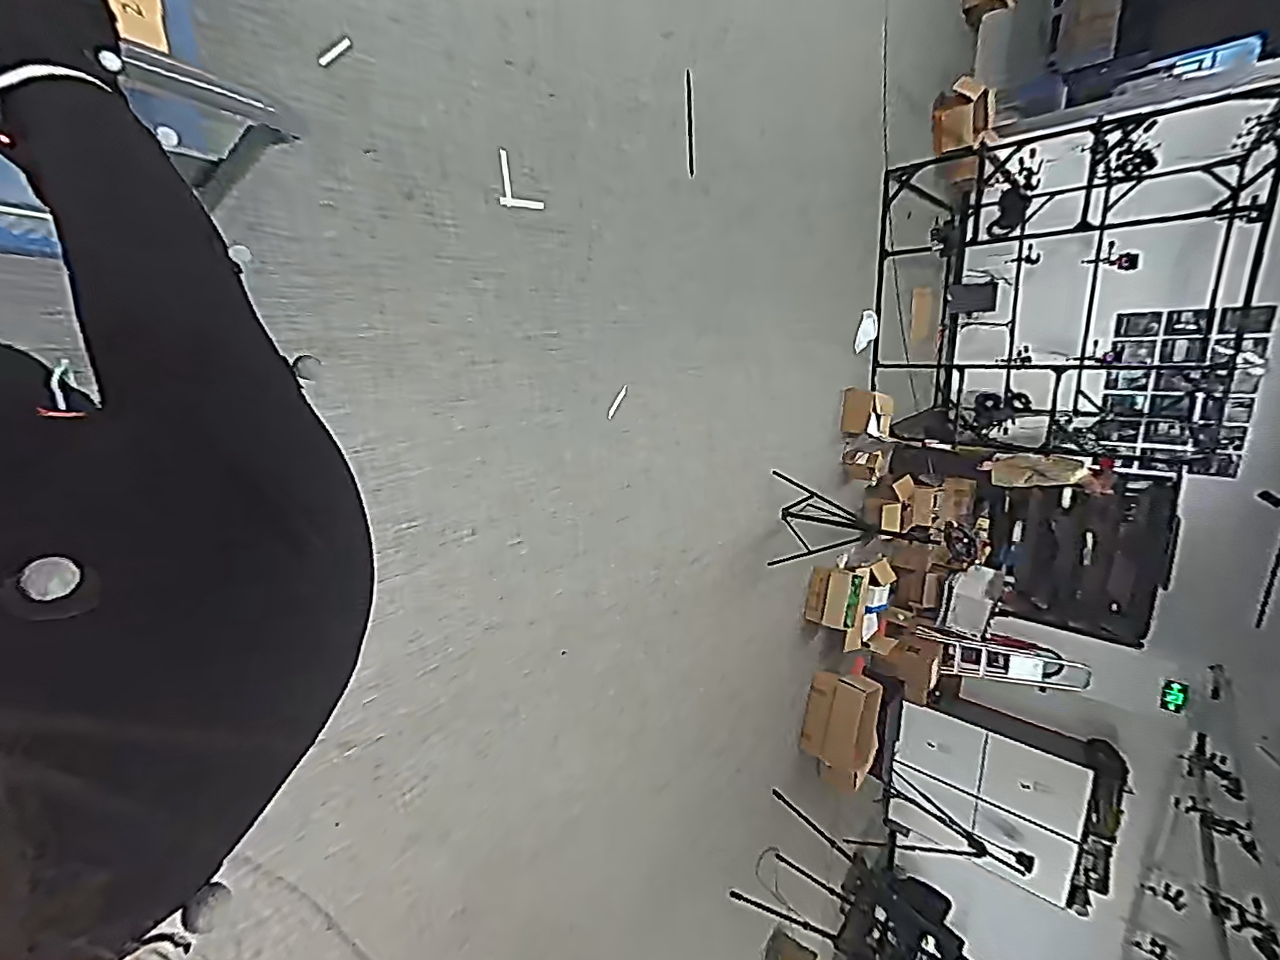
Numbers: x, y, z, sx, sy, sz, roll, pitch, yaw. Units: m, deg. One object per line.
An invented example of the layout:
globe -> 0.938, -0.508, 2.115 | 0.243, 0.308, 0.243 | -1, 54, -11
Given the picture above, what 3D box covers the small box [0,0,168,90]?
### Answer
small box -> -0.847, -0.726, 0.812 | 0.179, 0.176, 0.168 | -13, 108, -47
